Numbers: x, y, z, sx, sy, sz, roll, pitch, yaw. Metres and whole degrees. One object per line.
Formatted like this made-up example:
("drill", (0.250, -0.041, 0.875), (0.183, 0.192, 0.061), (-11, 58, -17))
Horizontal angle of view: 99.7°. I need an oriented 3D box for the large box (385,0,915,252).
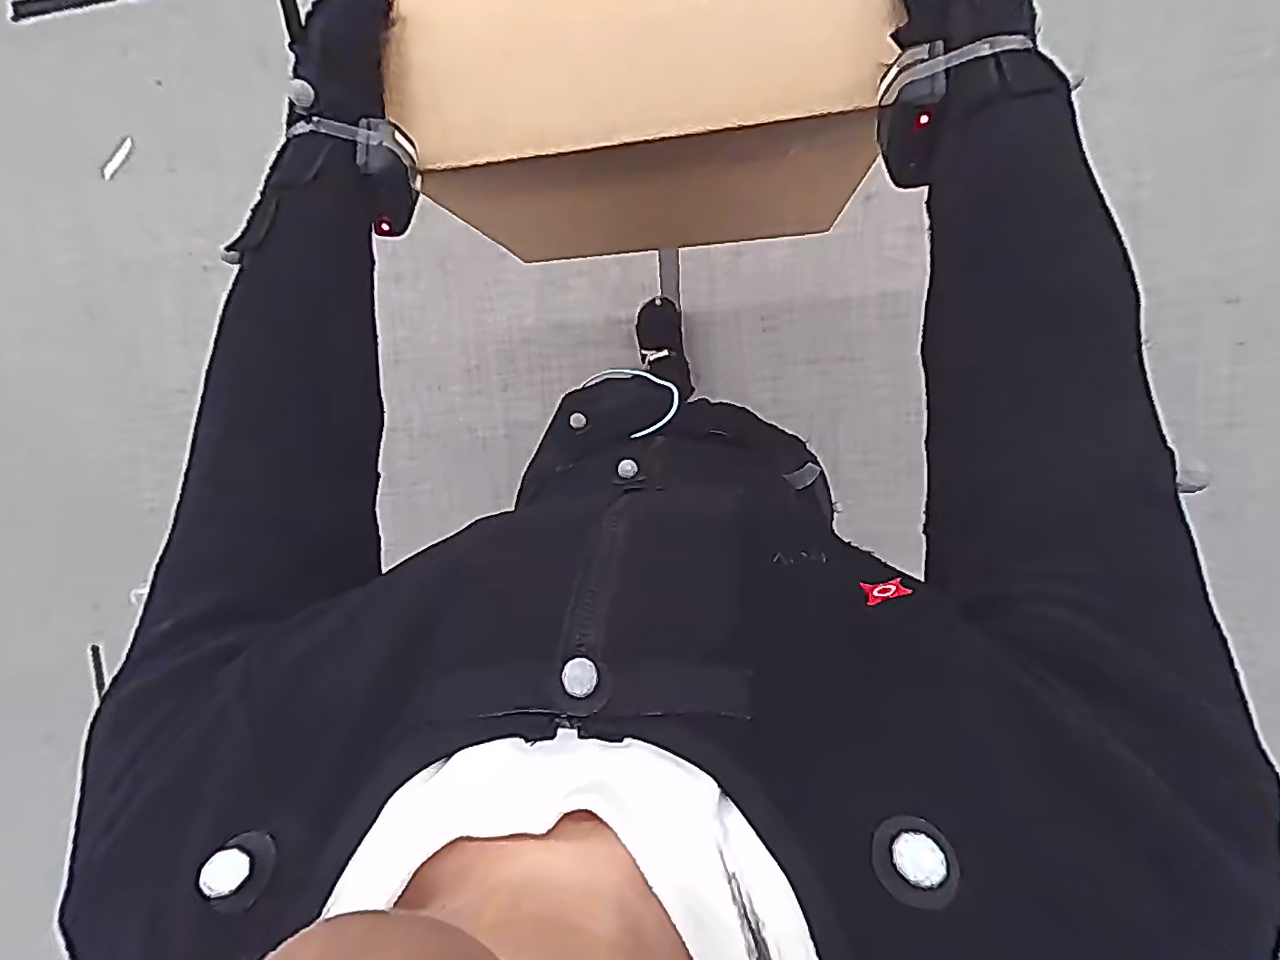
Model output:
("large box", (0.009, -0.448, 0.543), (0.408, 0.320, 0.320), (-3, 99, 8))
